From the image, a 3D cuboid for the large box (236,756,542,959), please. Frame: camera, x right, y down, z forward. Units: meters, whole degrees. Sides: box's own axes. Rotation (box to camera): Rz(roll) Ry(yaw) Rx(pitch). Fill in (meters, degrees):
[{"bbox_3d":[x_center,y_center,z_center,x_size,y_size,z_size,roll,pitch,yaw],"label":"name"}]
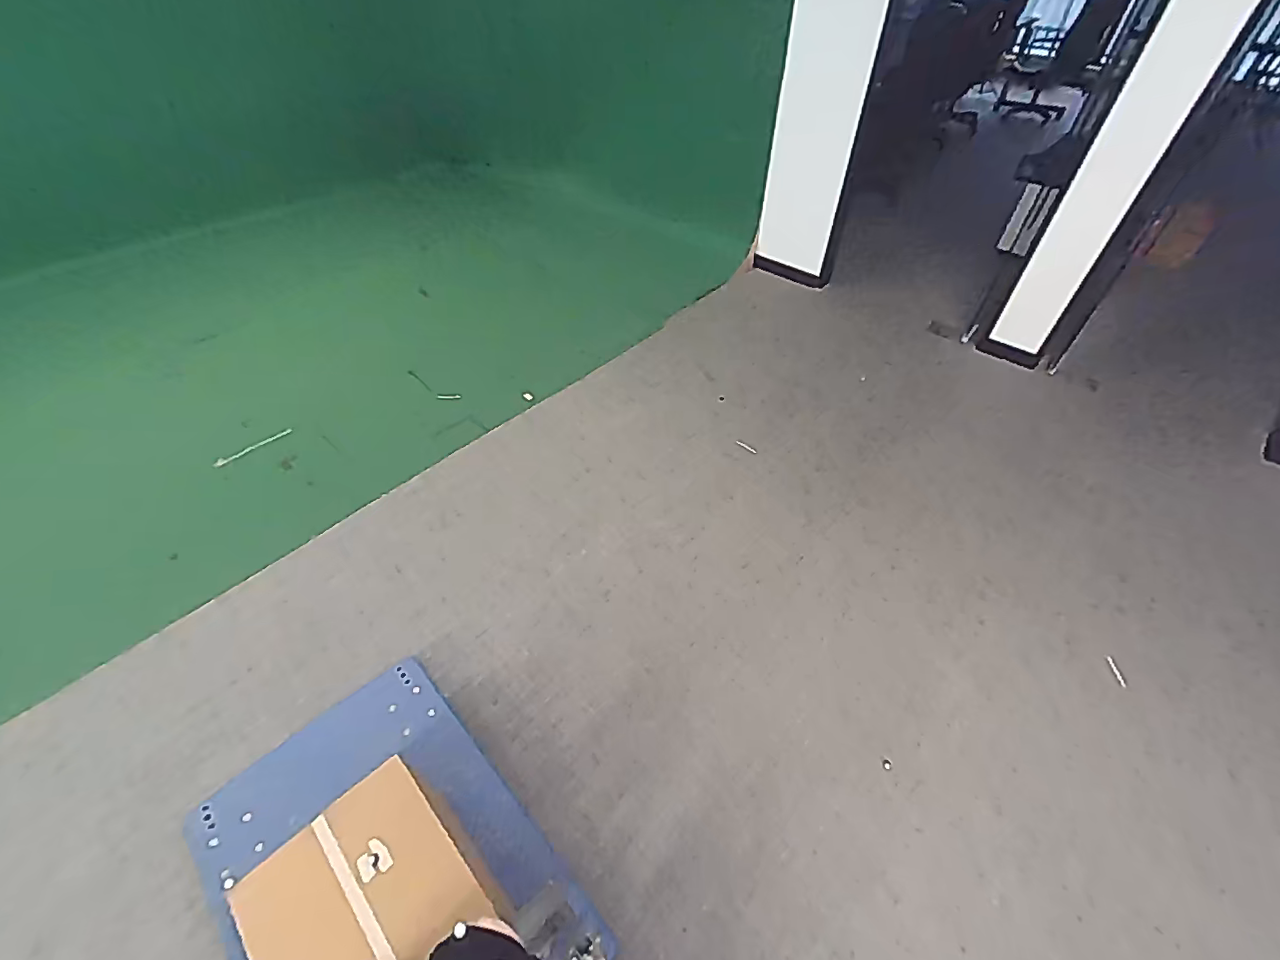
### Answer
[{"bbox_3d":[-0.440,0.820,1.002,0.320,0.320,0.408,-35,55,-29],"label":"large box"}]
